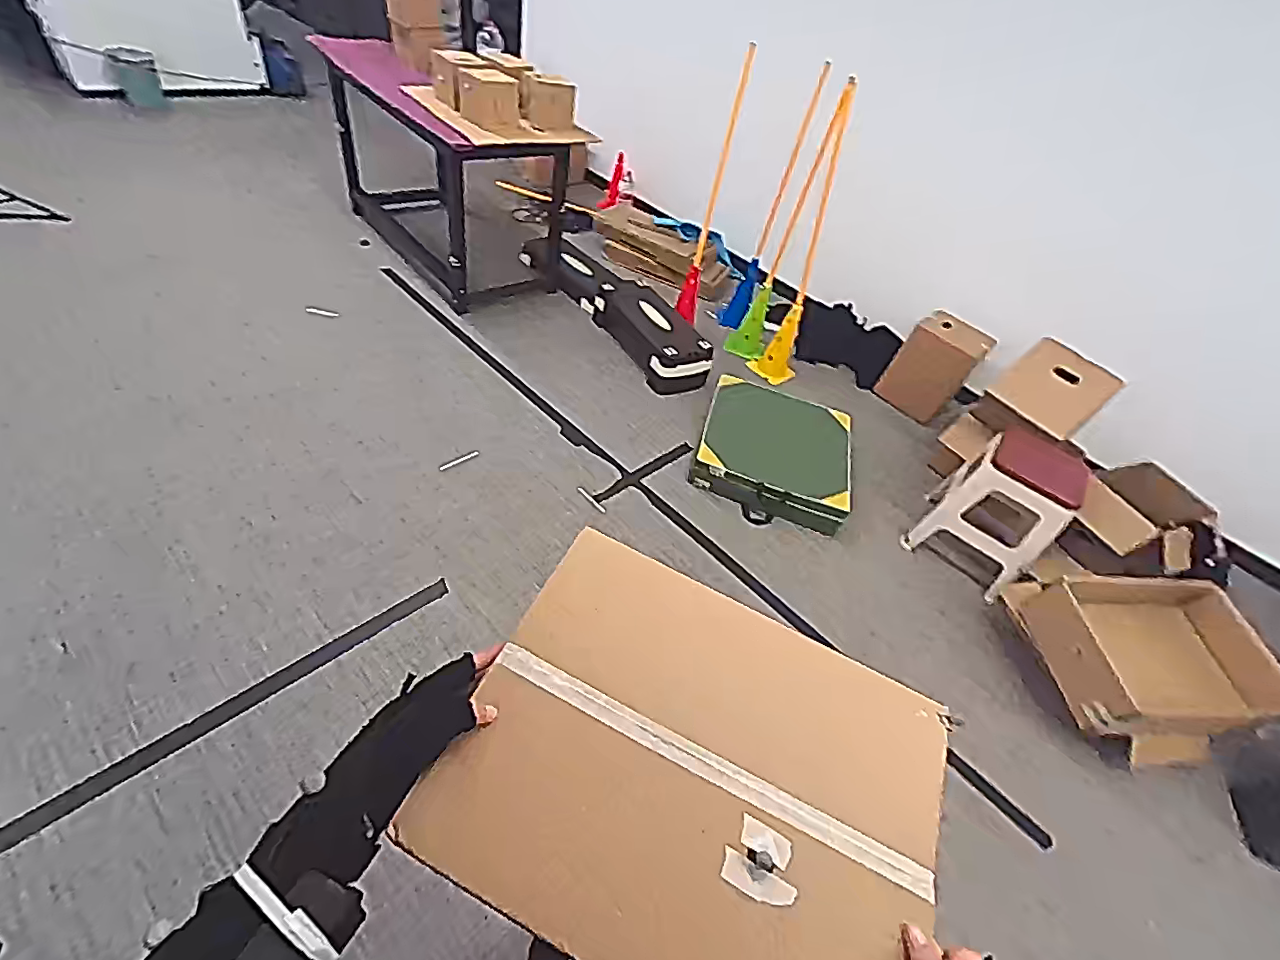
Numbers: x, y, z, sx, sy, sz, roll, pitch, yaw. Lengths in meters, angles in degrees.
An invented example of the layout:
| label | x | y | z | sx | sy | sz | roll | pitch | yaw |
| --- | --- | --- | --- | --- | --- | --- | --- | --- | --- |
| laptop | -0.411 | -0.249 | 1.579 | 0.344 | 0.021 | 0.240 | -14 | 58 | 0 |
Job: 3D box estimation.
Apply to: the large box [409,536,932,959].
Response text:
| label | x | y | z | sx | sy | sz | roll | pitch | yaw |
| --- | --- | --- | --- | --- | --- | --- | --- | --- | --- |
| large box | 0.031 | 0.332 | 0.599 | 0.408 | 0.320 | 0.320 | 26 | 54 | 7 |
